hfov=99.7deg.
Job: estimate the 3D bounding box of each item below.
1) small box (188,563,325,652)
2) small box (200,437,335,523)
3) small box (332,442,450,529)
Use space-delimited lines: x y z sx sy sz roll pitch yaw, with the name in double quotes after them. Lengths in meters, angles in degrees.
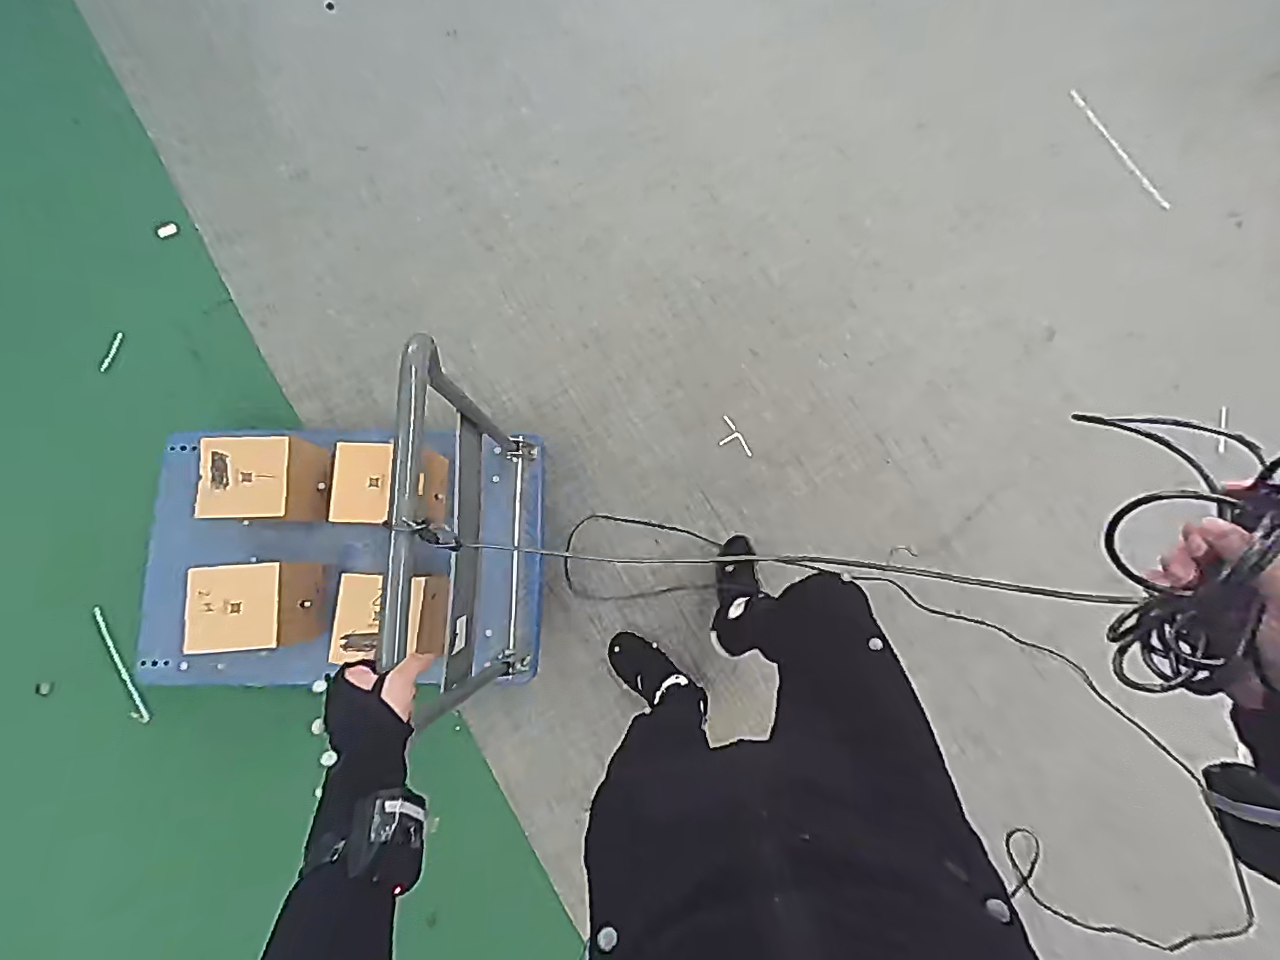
-0.788 0.259 1.130 0.179 0.176 0.168 -3 81 -3 "small box"
-0.795 0.005 1.169 0.179 0.176 0.168 -1 82 -3 "small box"
-0.533 0.018 1.179 0.179 0.176 0.168 2 81 -3 "small box"
